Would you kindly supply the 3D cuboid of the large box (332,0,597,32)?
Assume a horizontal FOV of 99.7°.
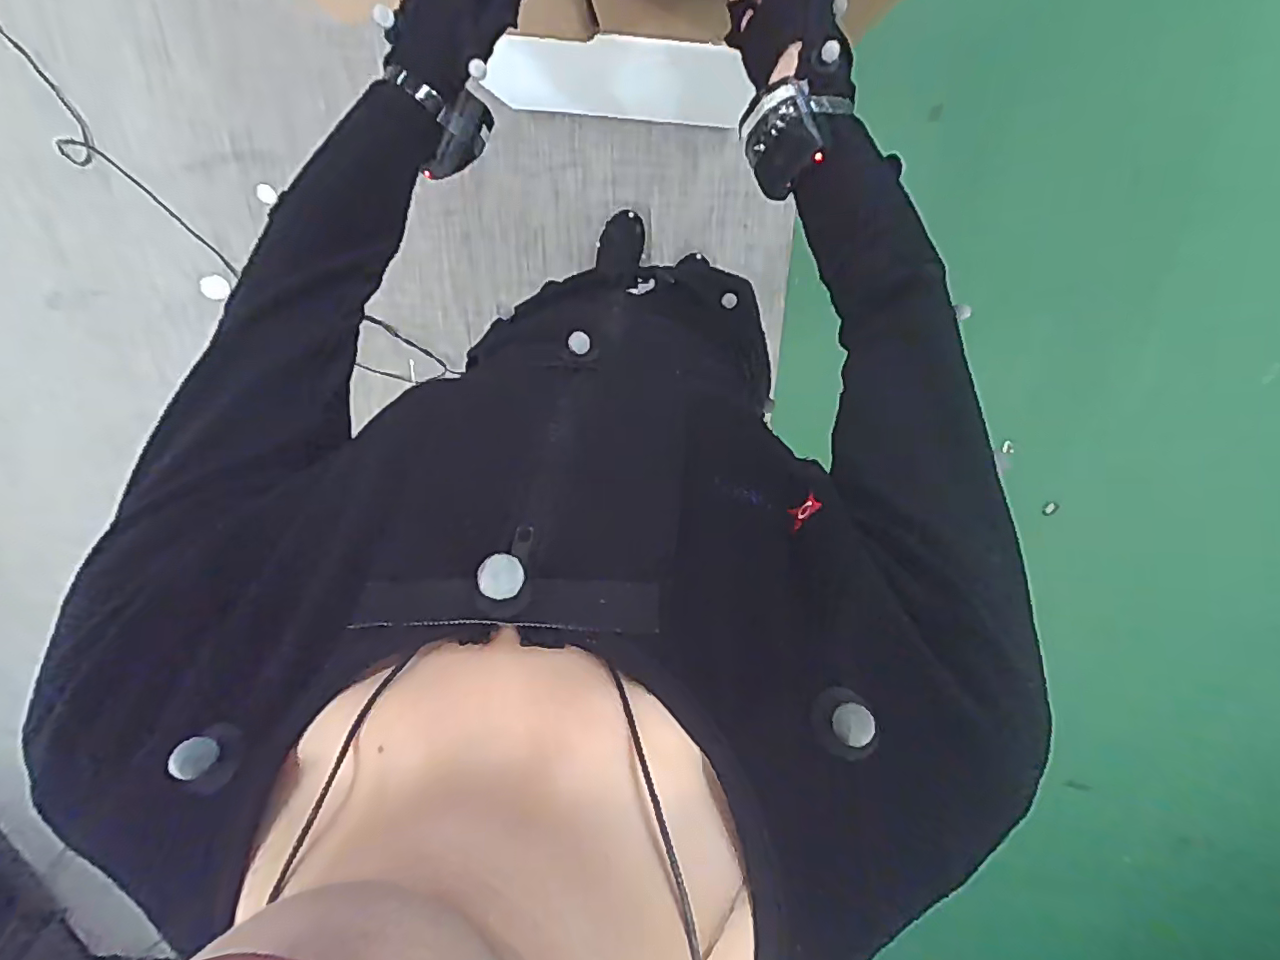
[{"bbox_3d":[-0.201,-0.688,0.464,0.320,0.320,0.408,5,114,0],"label":"large box"}]
